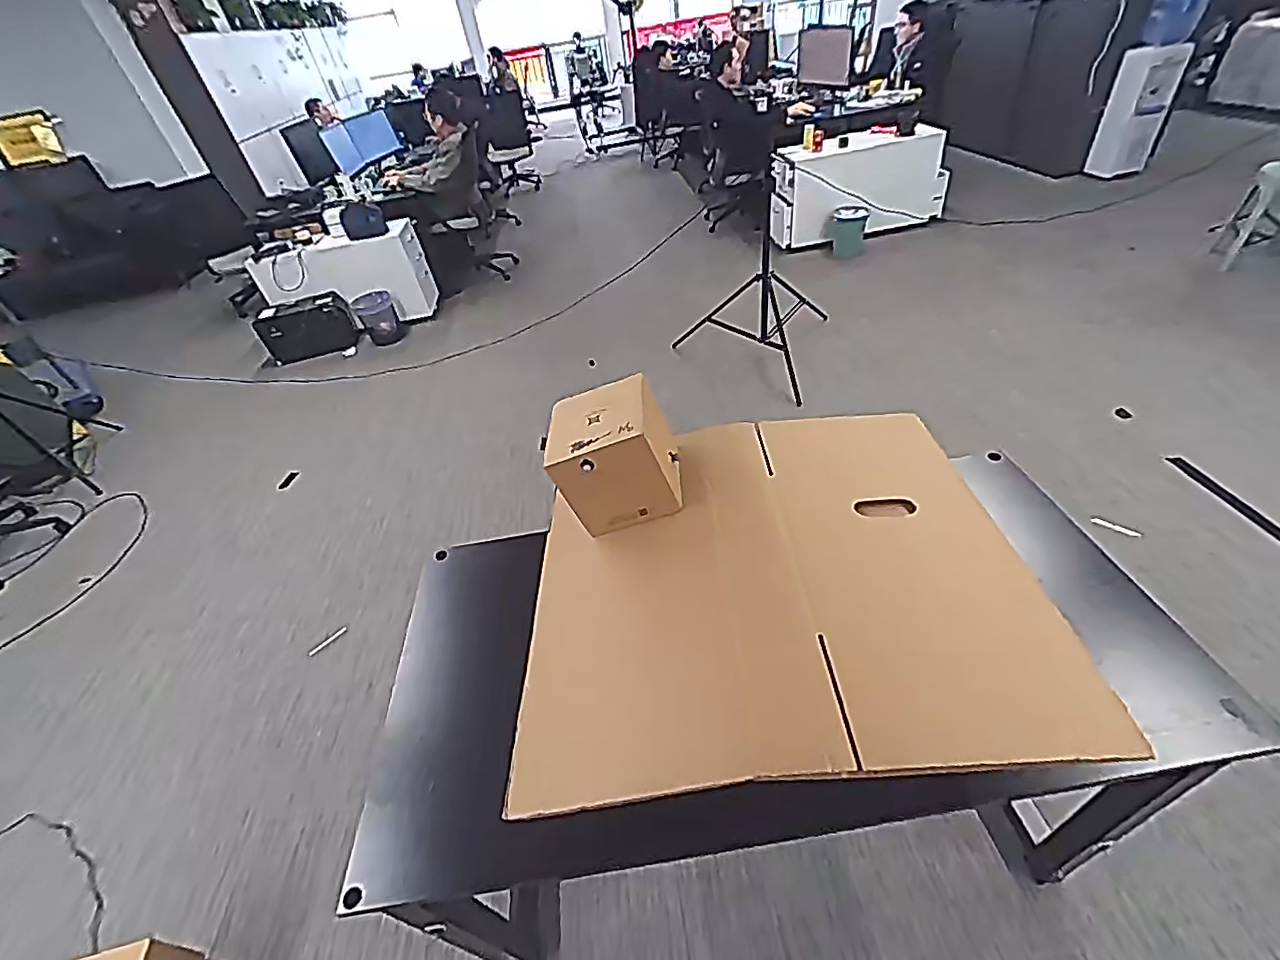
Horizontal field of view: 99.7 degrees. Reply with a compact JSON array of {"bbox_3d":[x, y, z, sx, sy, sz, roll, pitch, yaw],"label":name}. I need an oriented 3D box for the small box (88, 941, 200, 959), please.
[{"bbox_3d":[-0.973,1.006,1.005,0.168,0.176,0.179,-14,40,-6],"label":"small box"}]

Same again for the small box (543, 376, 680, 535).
[{"bbox_3d":[-0.039,-0.039,0.899,0.168,0.176,0.179,-18,38,14],"label":"small box"}]
